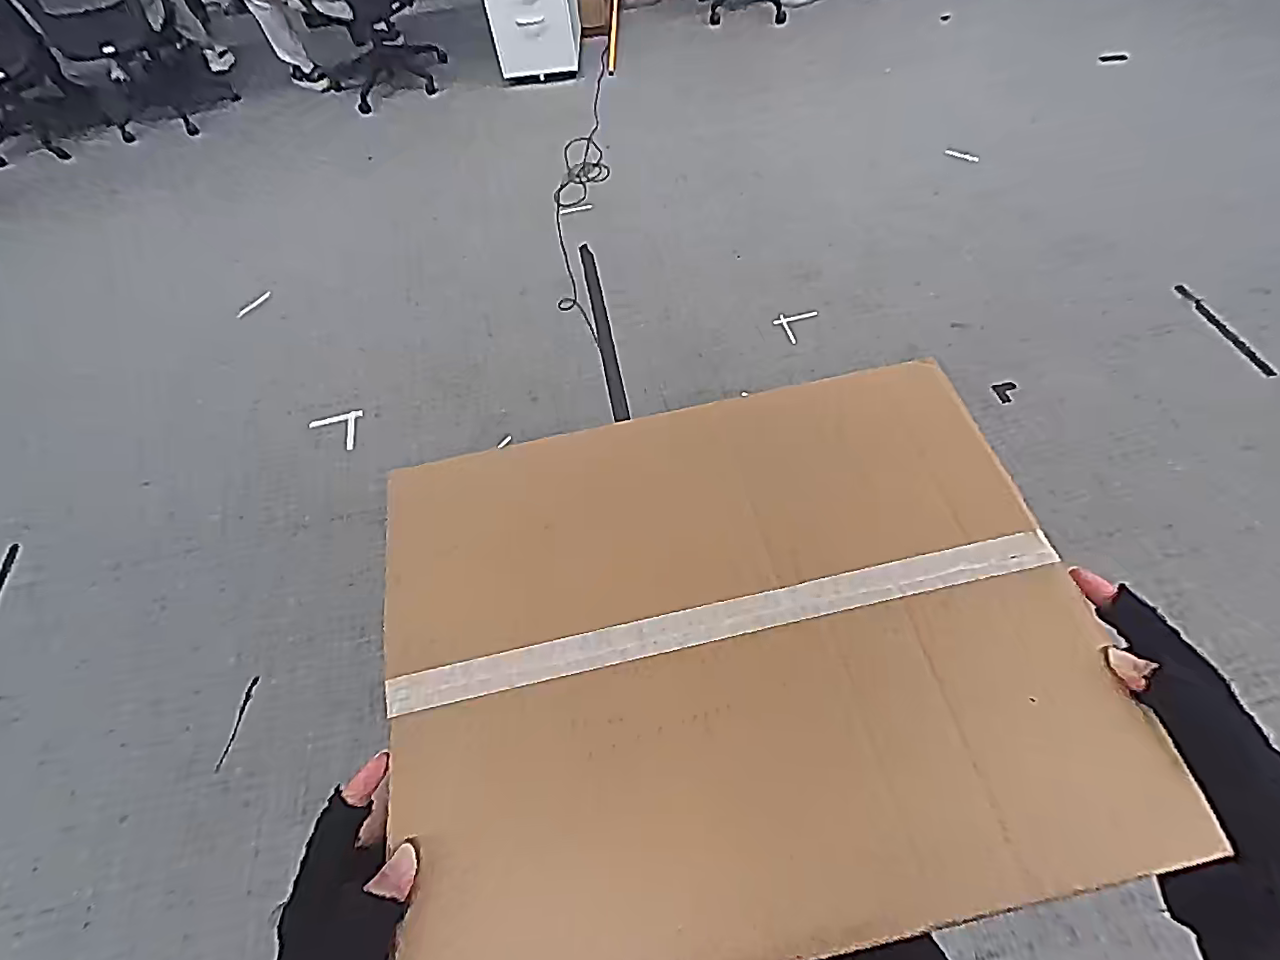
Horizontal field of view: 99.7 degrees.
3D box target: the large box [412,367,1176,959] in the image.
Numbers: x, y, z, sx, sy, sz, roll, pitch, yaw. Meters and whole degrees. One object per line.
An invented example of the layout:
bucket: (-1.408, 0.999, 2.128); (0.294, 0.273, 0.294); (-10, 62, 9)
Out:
large box: (0.063, 0.155, 0.470); (0.408, 0.320, 0.320); (-12, 62, -2)
